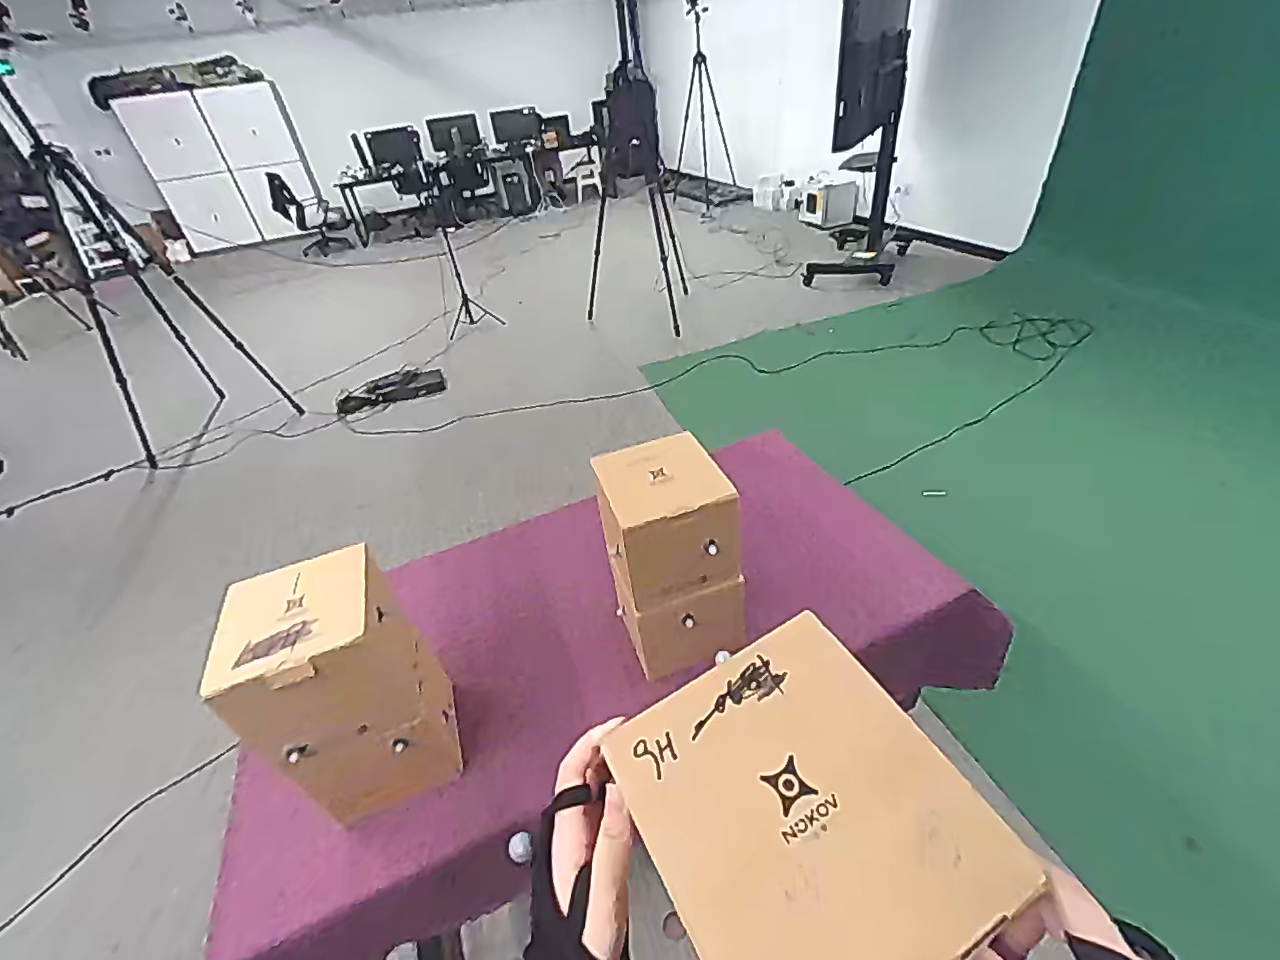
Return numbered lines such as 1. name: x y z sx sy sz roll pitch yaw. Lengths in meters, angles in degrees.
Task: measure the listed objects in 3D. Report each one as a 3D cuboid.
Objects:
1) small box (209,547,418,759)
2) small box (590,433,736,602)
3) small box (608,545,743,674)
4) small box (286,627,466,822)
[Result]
1. small box: -0.397 0.224 0.692 0.168 0.176 0.179 -19 37 -14
2. small box: 0.037 0.060 0.811 0.168 0.176 0.179 -17 37 -10
3. small box: 0.061 0.192 0.903 0.179 0.176 0.168 -17 38 -9
4. small box: -0.373 0.355 0.789 0.179 0.176 0.168 -19 38 -13
